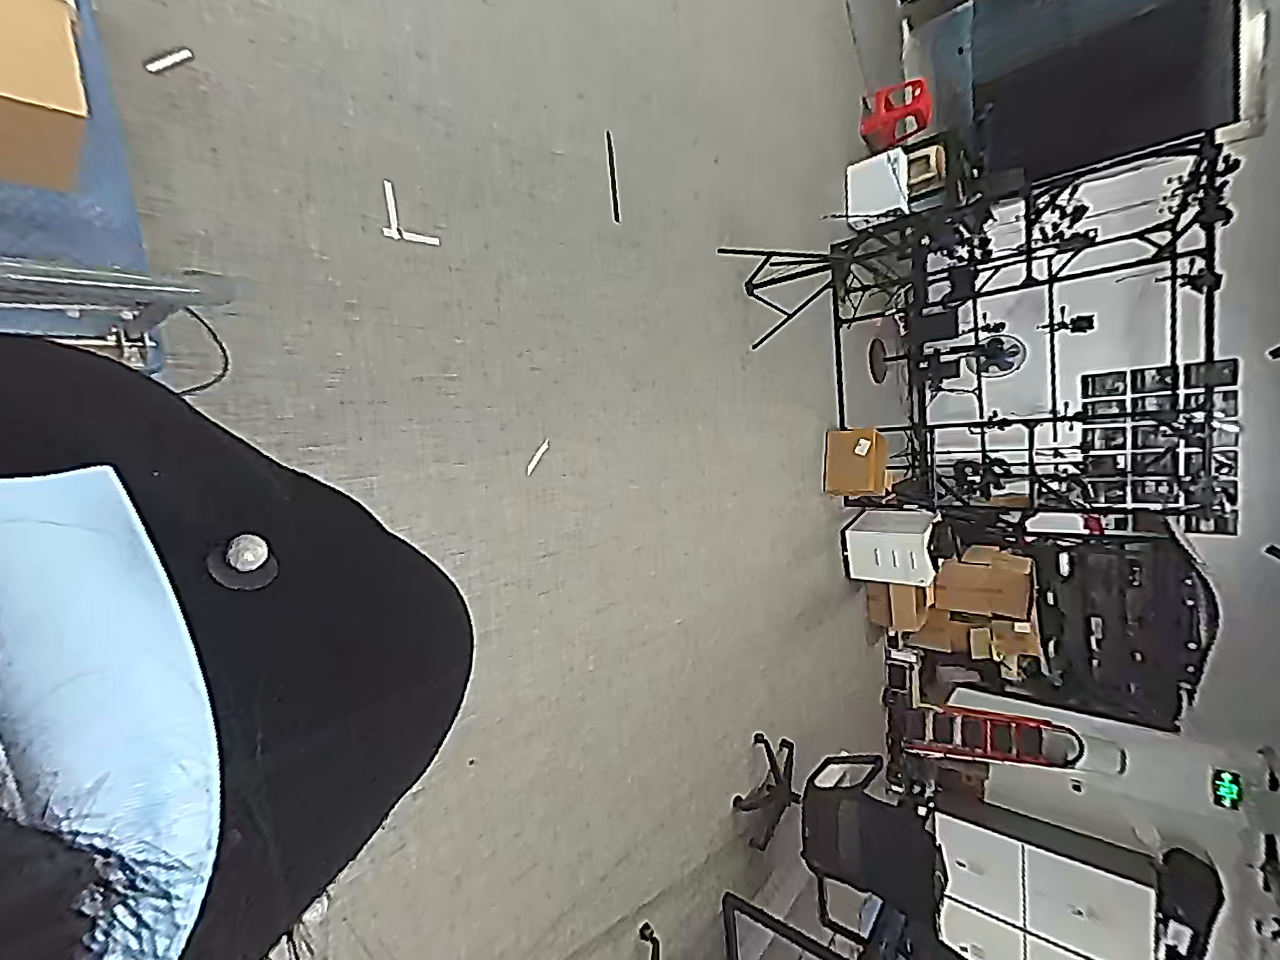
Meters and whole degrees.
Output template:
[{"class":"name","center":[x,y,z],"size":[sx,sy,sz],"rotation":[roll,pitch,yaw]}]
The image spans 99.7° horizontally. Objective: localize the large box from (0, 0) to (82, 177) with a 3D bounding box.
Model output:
[{"class":"large box","center":[-1.040,-0.642,0.691],"size":[0.408,0.320,0.320],"rotation":[-13,99,-48]}]
